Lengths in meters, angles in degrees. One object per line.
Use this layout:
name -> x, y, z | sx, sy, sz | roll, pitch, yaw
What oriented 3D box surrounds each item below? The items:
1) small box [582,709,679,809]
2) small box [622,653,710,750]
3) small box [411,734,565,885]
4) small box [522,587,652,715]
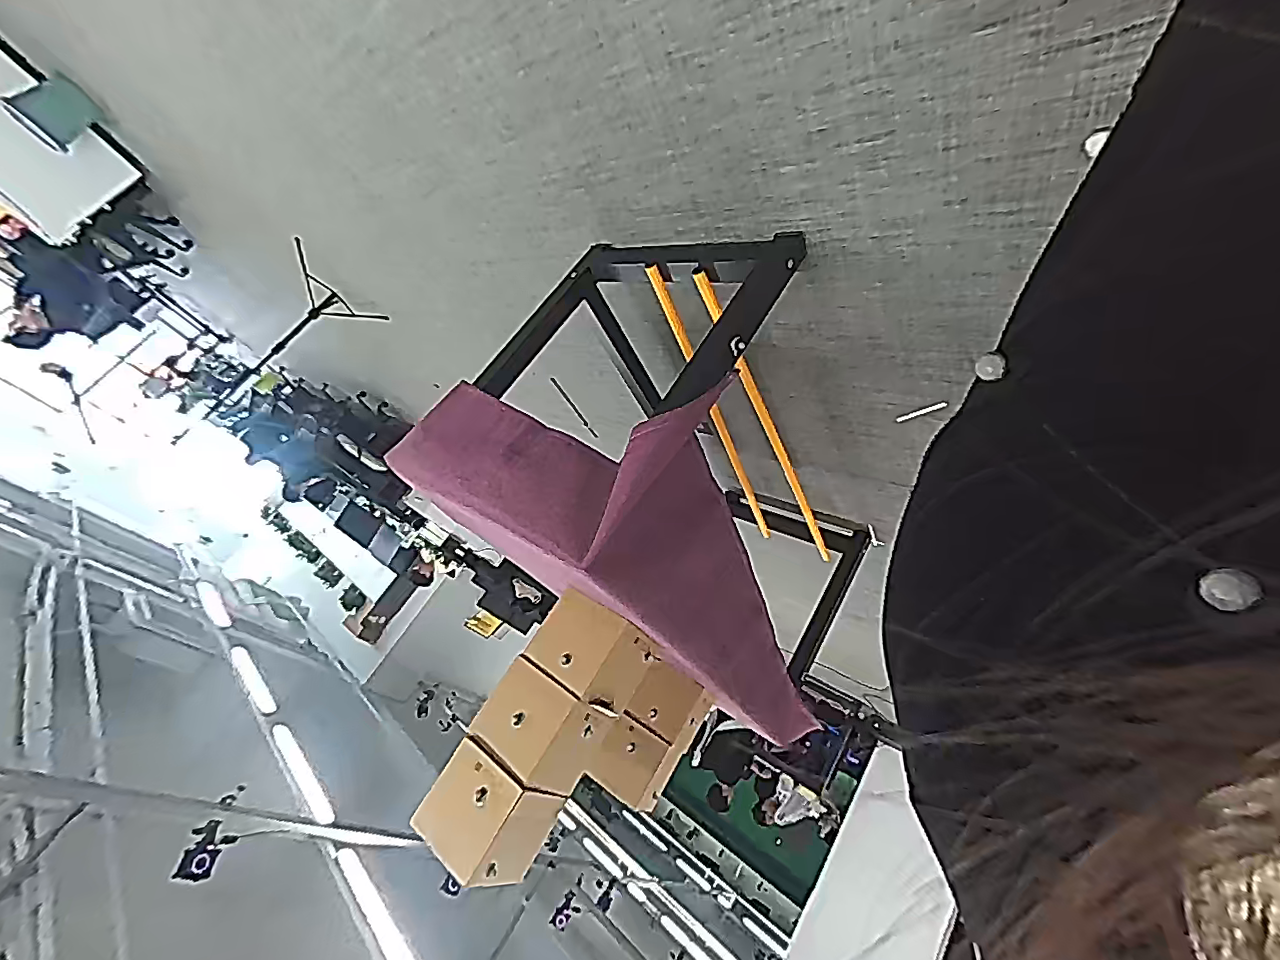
small box -> -0.016, 0.718, 1.399 | 0.168, 0.176, 0.179 | 23, 158, 28
small box -> 0.075, 0.593, 1.453 | 0.179, 0.176, 0.168 | 24, 159, 29
small box -> -0.269, 0.599, 0.994 | 0.168, 0.176, 0.179 | 21, 158, 34
small box -> -0.097, 0.343, 1.101 | 0.179, 0.176, 0.168 | 21, 158, 37
